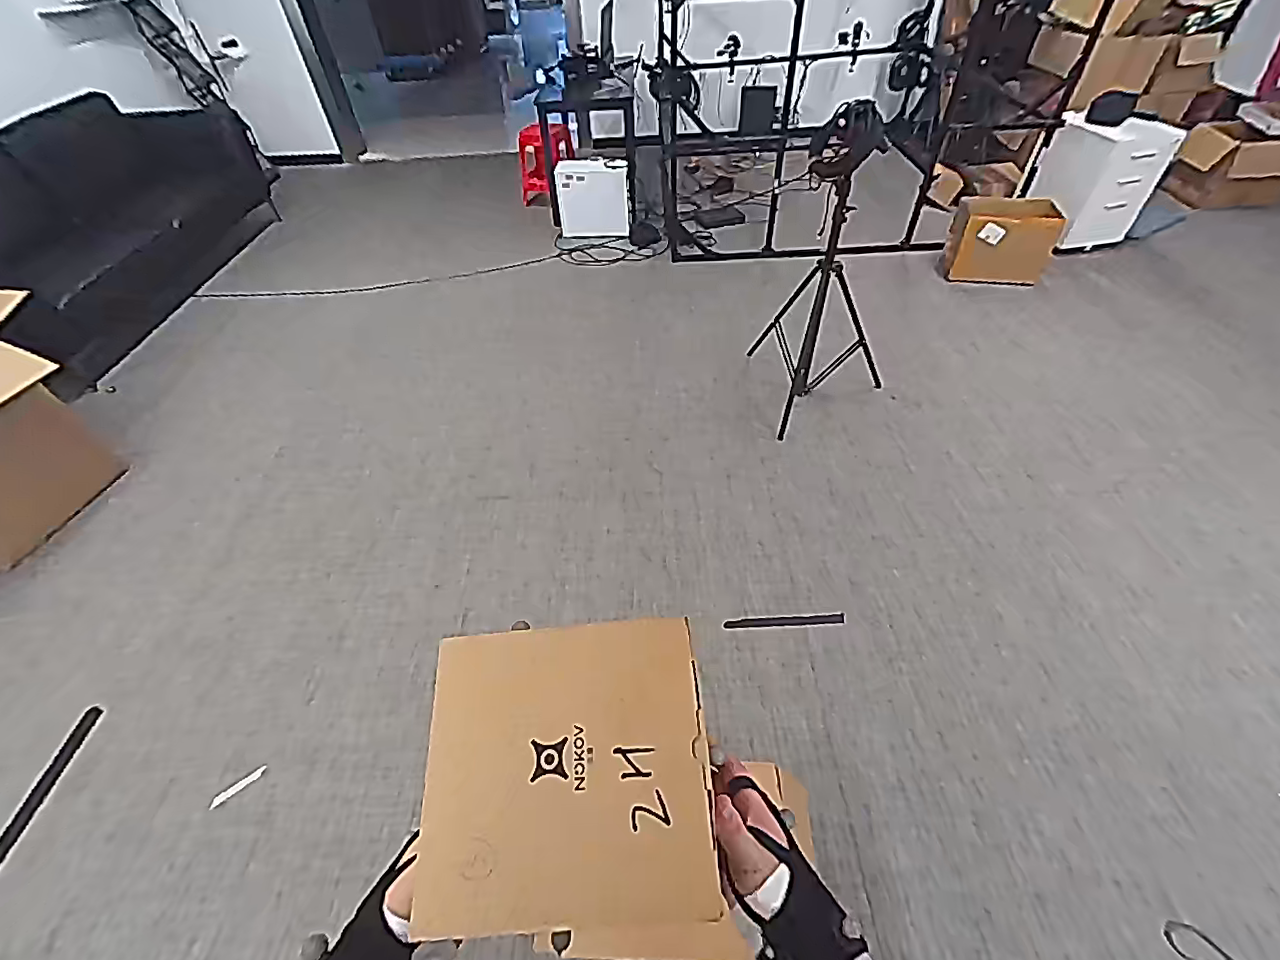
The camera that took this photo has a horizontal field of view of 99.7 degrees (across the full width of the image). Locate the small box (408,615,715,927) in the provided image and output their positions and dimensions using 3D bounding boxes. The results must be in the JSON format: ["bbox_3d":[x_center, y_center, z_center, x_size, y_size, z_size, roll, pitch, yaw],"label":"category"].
[{"bbox_3d":[-0.042,0.211,0.405,0.179,0.176,0.168,-6,61,2],"label":"small box"}]
